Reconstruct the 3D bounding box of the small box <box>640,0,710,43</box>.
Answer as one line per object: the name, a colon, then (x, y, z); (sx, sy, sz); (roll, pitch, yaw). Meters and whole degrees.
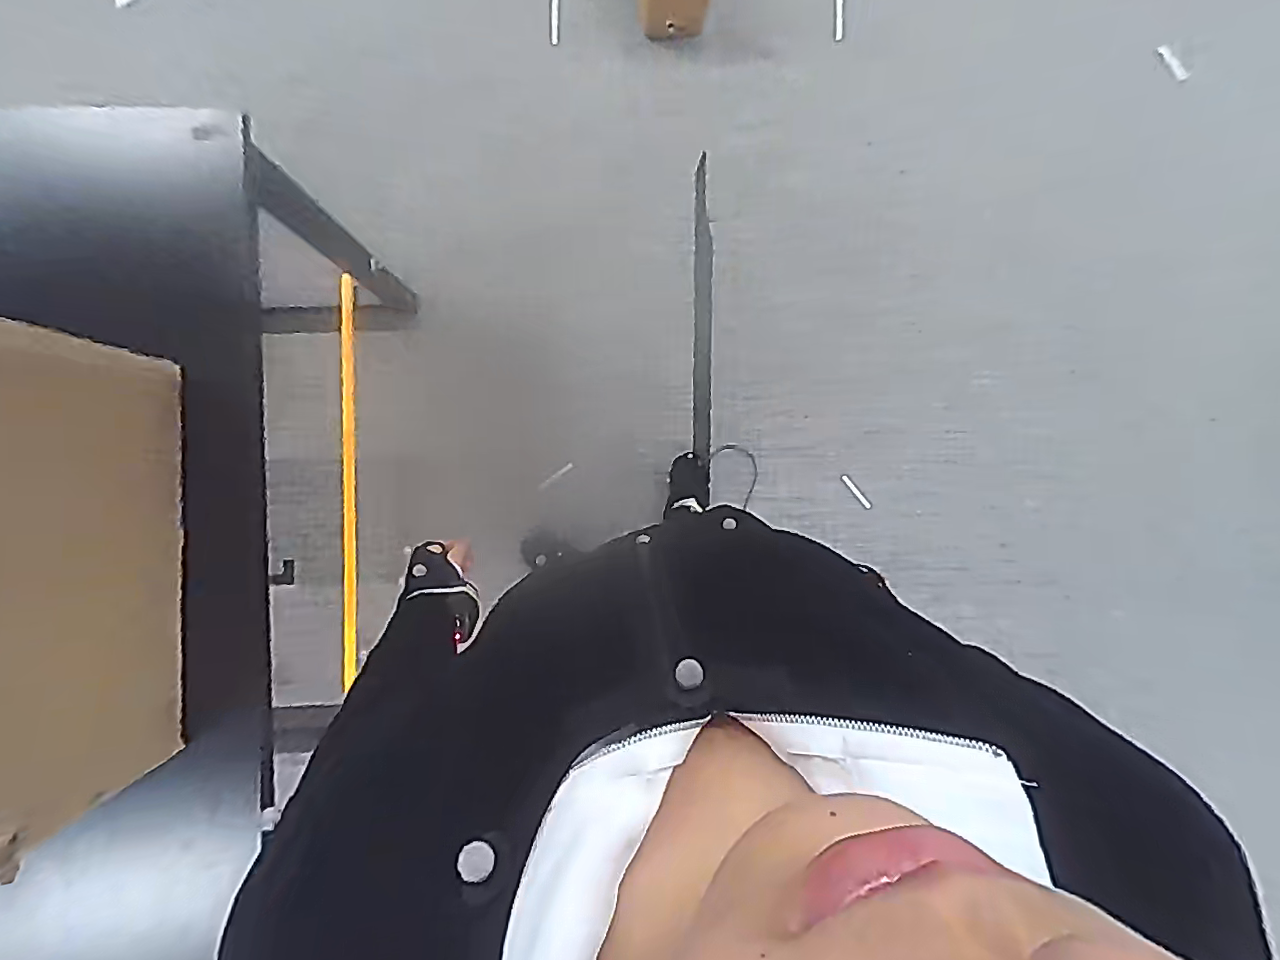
small box: (0.088, -1.305, 1.422); (0.168, 0.176, 0.179); (-7, 92, -3)
